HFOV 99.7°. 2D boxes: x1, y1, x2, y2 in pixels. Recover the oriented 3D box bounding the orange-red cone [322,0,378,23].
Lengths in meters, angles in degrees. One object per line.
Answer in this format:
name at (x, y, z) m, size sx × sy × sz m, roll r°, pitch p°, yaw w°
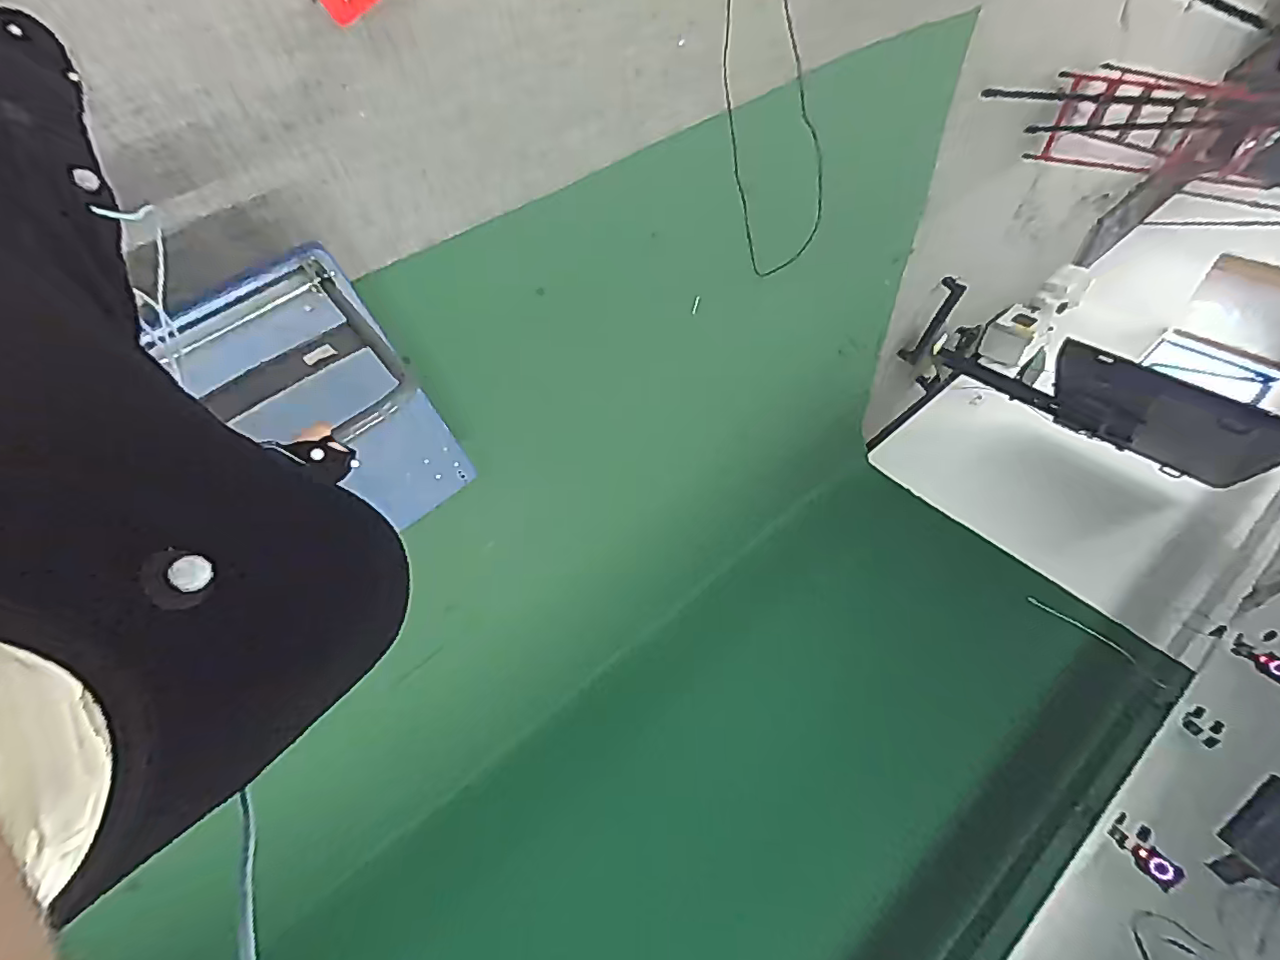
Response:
orange-red cone at (-0.488, -0.979, 0.990) m, size 0.199 × 0.360 × 0.198 m, roll -45°, pitch 147°, yaw -7°
